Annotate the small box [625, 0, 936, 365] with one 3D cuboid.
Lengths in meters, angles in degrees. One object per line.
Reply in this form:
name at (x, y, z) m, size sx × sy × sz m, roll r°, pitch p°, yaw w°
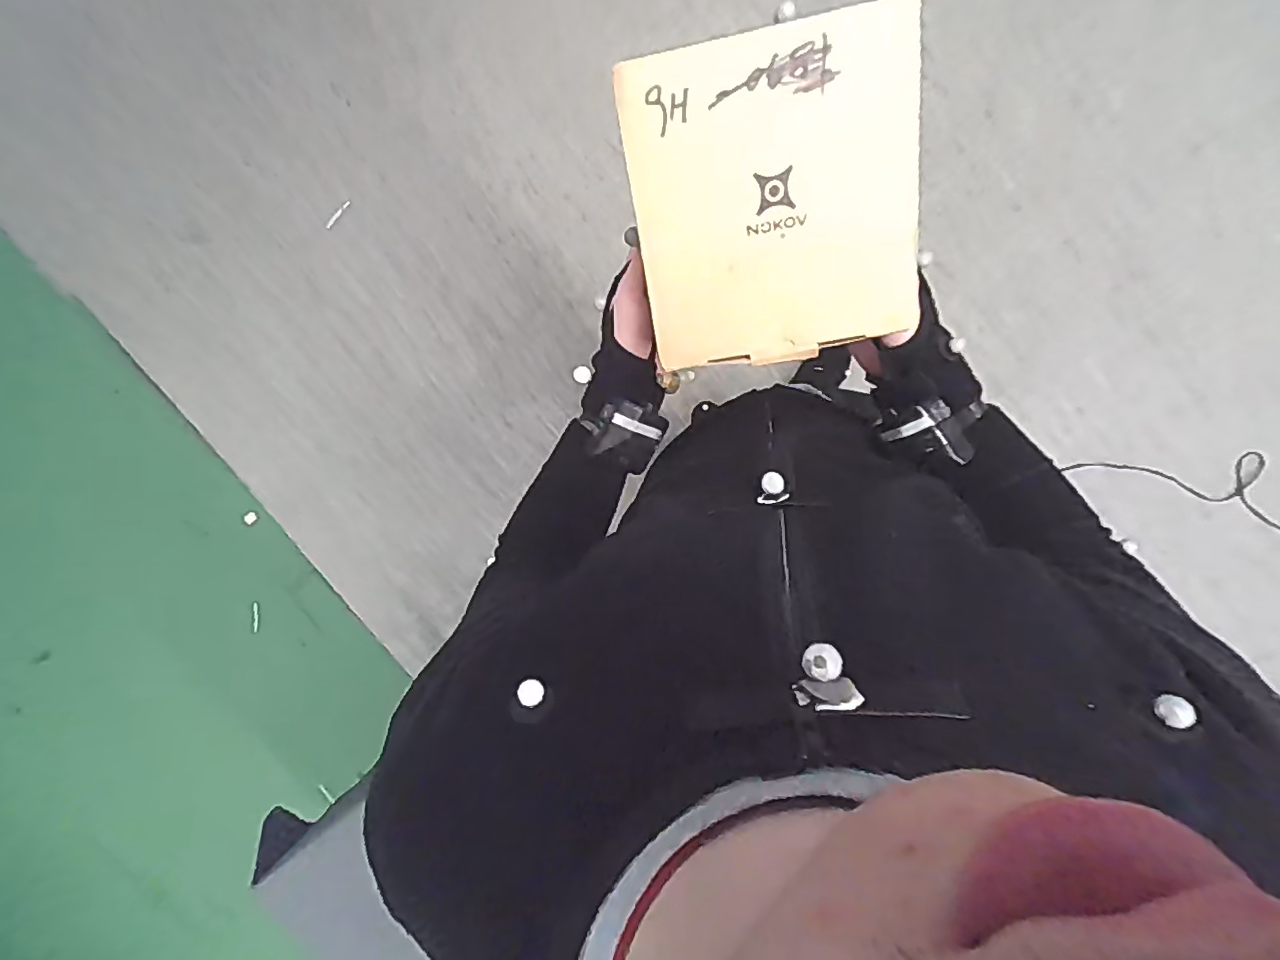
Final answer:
small box at (0.089, -0.200, 0.393) m, size 0.168 × 0.176 × 0.179 m, roll -8°, pitch 115°, yaw 6°
